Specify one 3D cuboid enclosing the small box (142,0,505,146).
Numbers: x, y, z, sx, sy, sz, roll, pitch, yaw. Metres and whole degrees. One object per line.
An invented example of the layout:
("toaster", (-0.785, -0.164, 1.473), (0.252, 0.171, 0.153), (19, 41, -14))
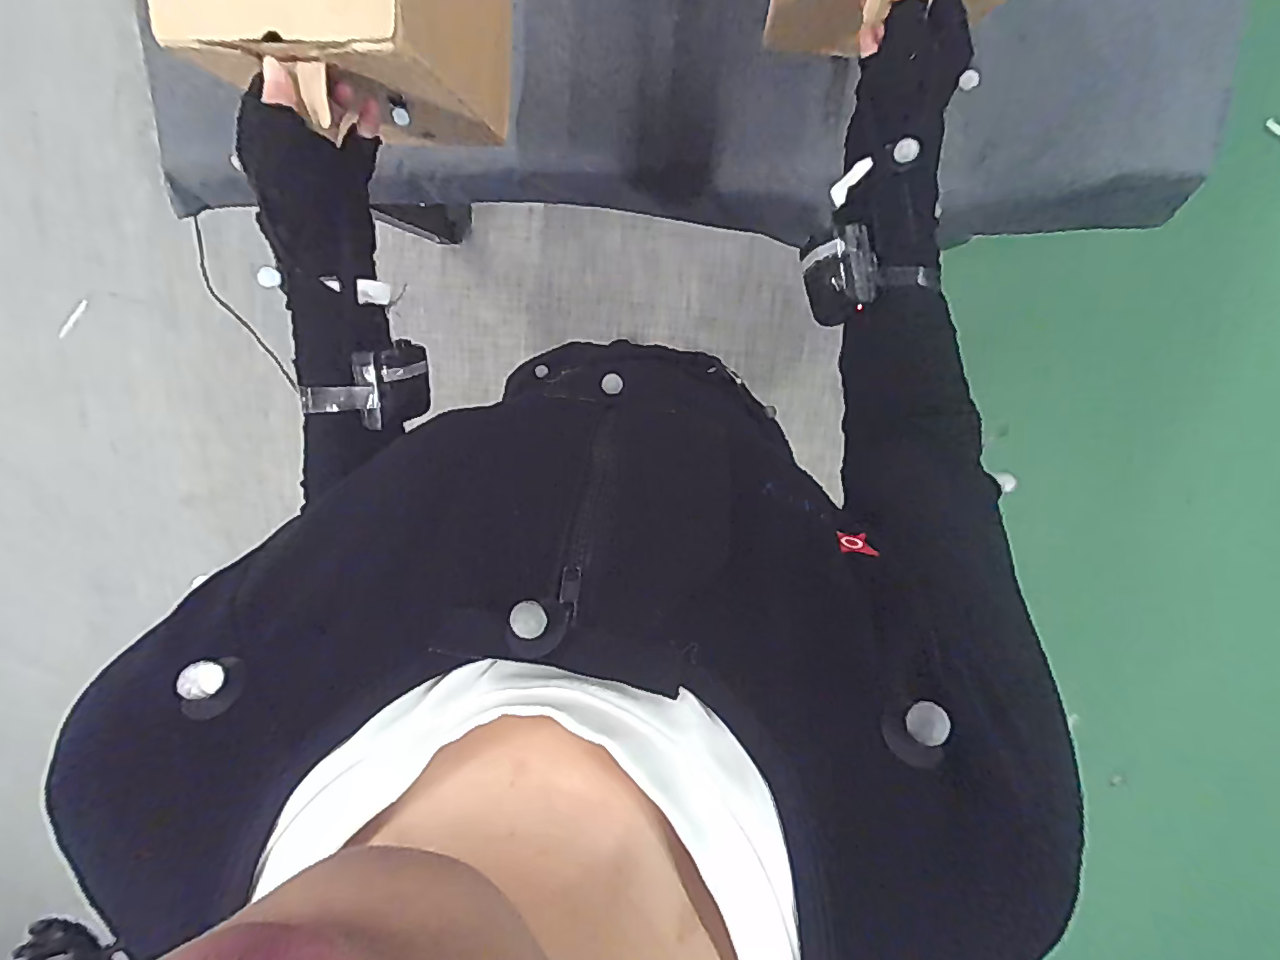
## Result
("small box", (-0.202, -0.357, 0.378), (0.168, 0.176, 0.179), (6, 103, 7))
